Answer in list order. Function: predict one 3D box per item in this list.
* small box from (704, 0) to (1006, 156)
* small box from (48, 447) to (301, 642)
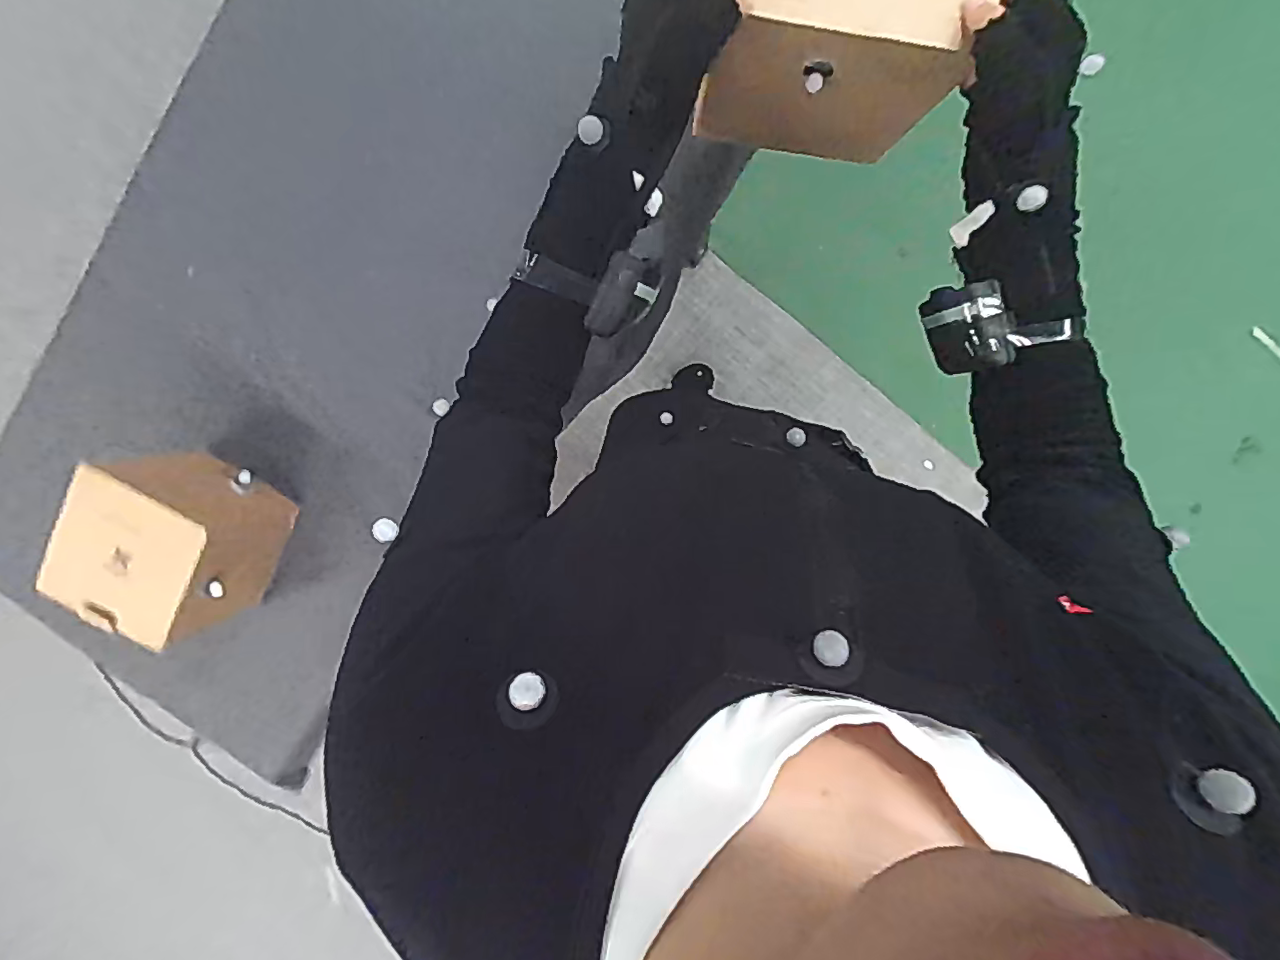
[{"bbox_3d":[0.154,-0.379,0.414,0.179,0.176,0.168,8,99,-4],"label":"small box"},{"bbox_3d":[-0.596,0.073,0.716,0.168,0.176,0.179,28,99,-2],"label":"small box"}]
